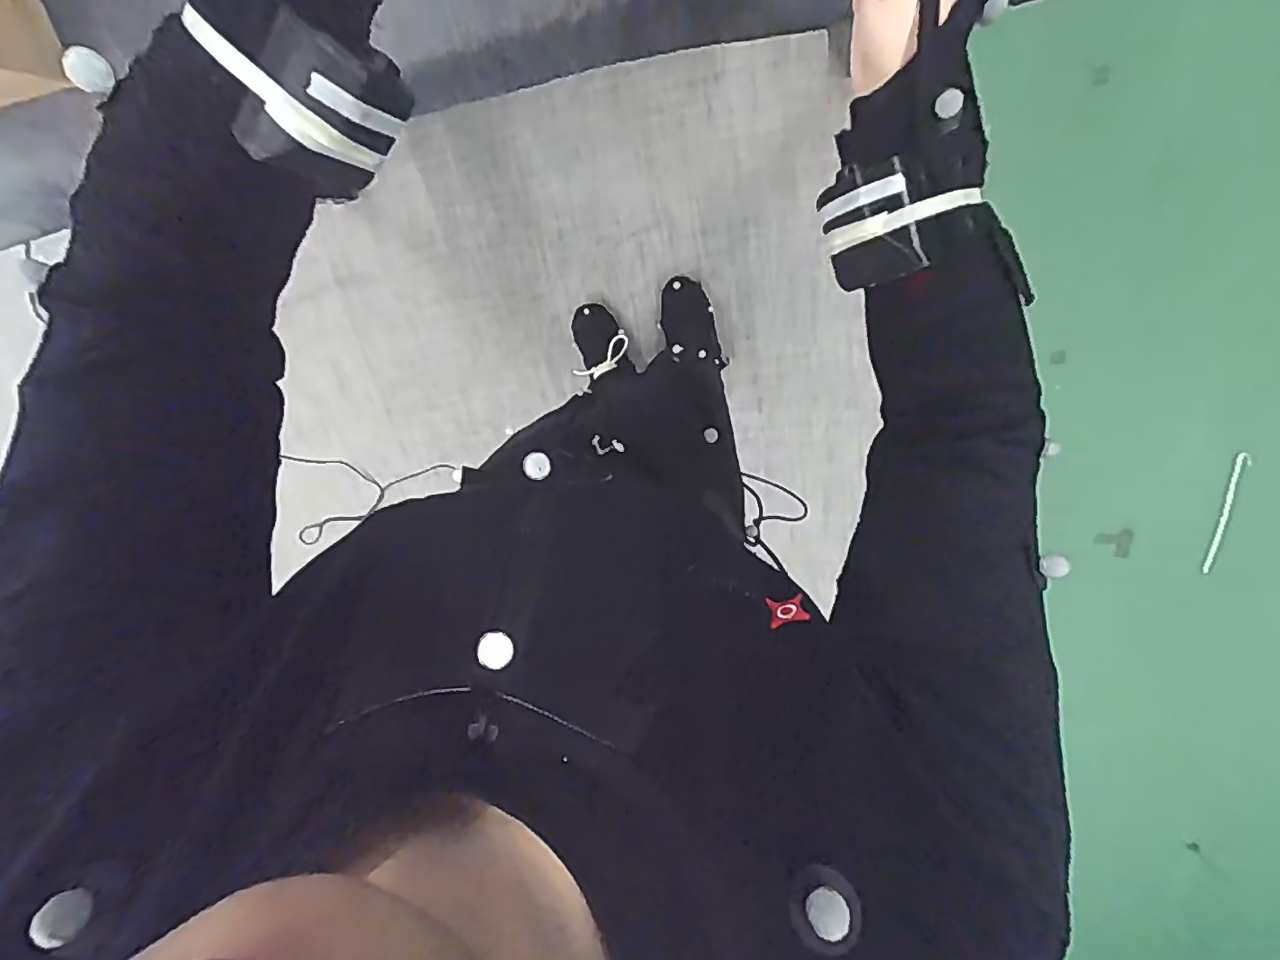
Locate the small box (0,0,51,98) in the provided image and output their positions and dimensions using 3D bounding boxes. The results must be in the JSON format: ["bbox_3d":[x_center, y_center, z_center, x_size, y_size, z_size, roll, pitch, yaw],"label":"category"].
[{"bbox_3d":[-0.642,-0.416,0.426,0.179,0.176,0.168,-4,114,11],"label":"small box"}]
